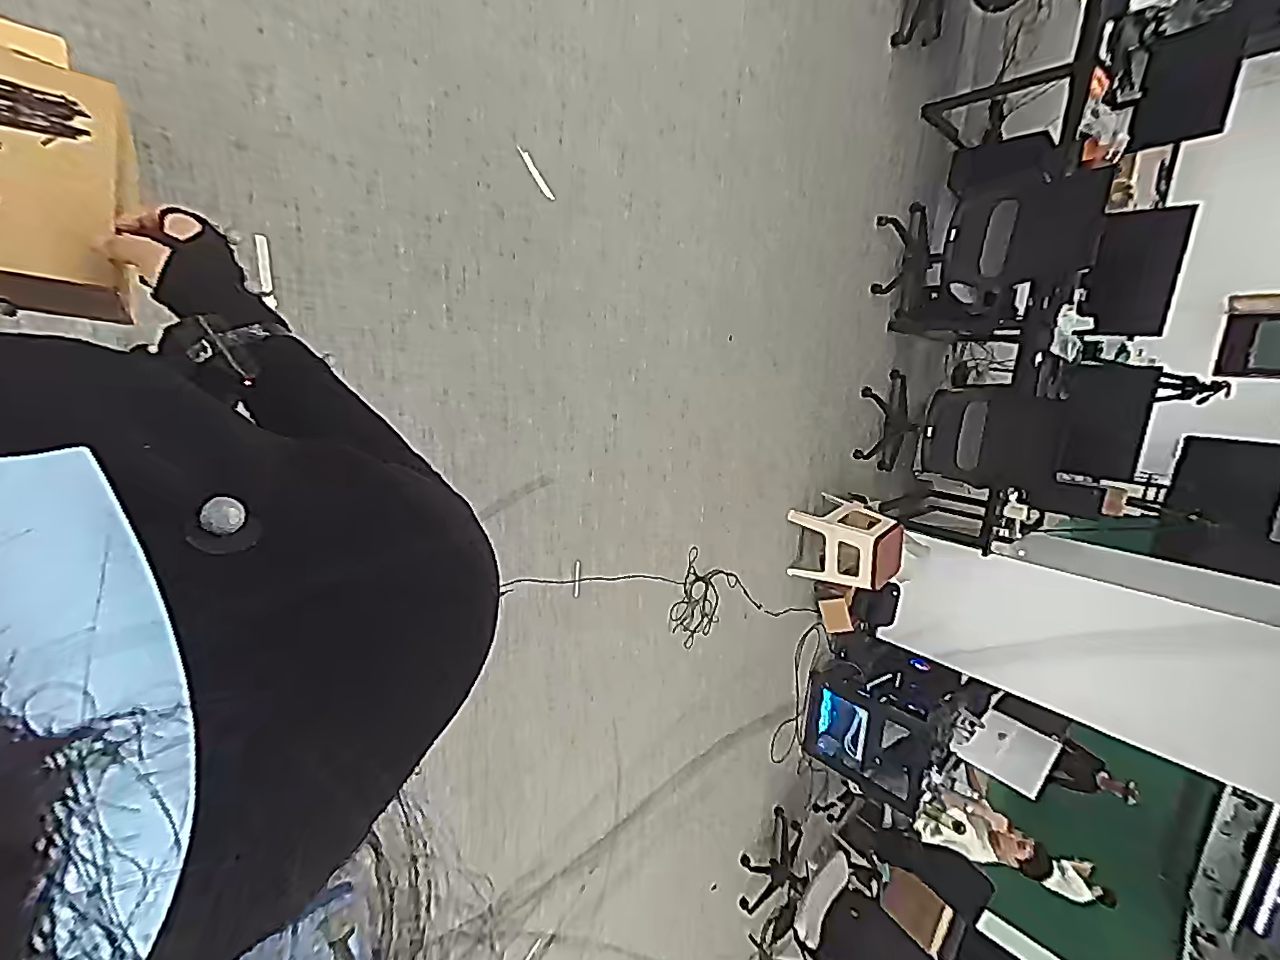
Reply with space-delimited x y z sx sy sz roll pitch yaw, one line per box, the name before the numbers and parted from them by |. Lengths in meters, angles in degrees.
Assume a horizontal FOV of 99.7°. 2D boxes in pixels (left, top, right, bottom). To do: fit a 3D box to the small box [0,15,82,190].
small box | -0.918 -0.538 0.765 0.168 0.176 0.179 -6 106 -42
